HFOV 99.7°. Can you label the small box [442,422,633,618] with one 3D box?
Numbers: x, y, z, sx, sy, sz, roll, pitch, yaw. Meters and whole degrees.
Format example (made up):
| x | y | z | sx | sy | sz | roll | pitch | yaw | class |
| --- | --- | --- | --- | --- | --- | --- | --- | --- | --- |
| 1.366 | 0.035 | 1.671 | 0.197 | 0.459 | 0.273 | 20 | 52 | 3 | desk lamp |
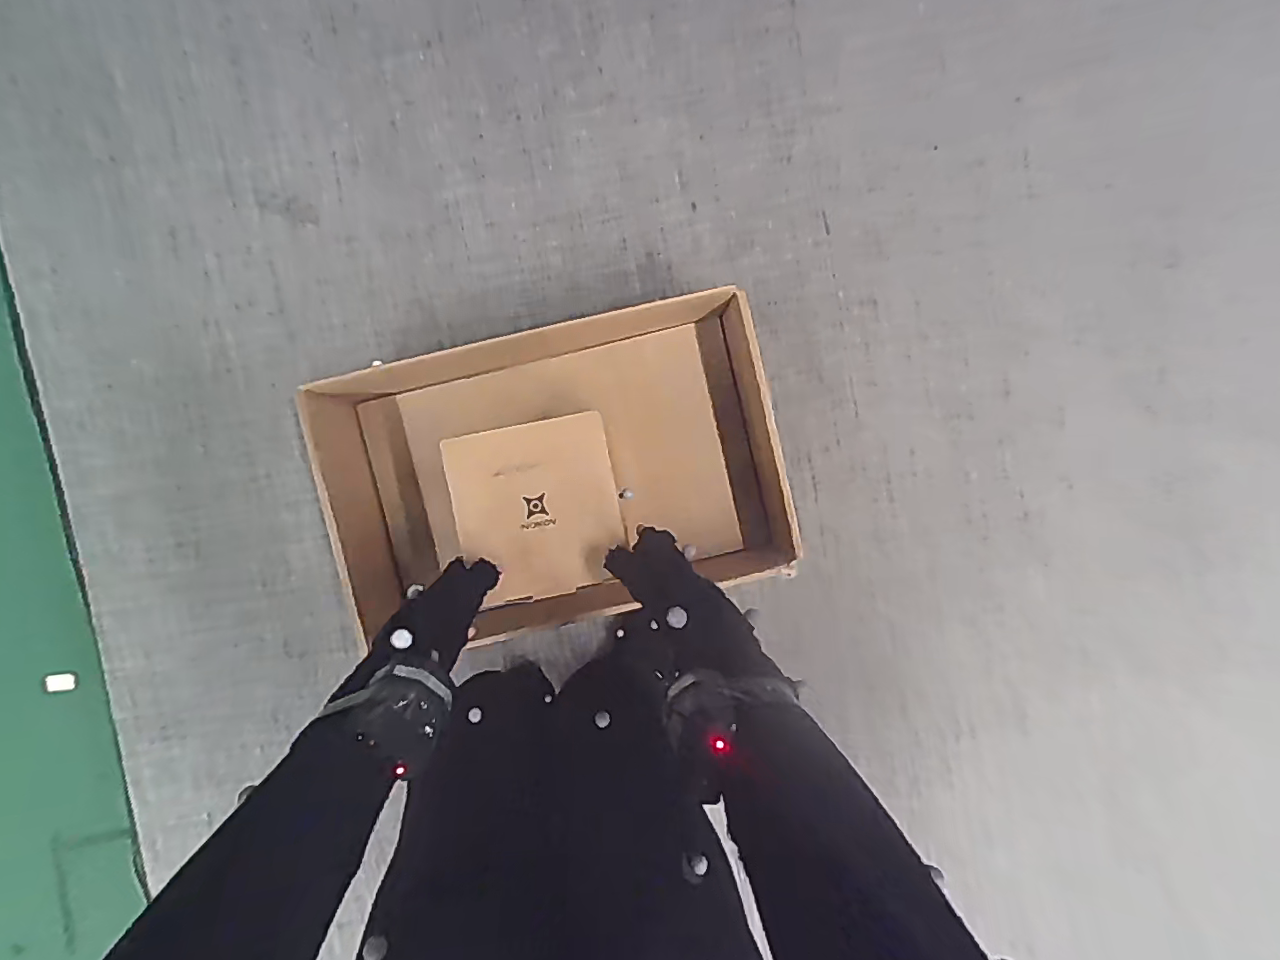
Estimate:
| x | y | z | sx | sy | sz | roll | pitch | yaw | class |
| --- | --- | --- | --- | --- | --- | --- | --- | --- | --- |
| -0.103 | 0.038 | 0.624 | 0.168 | 0.176 | 0.179 | -12 | 91 | 0 | small box |
